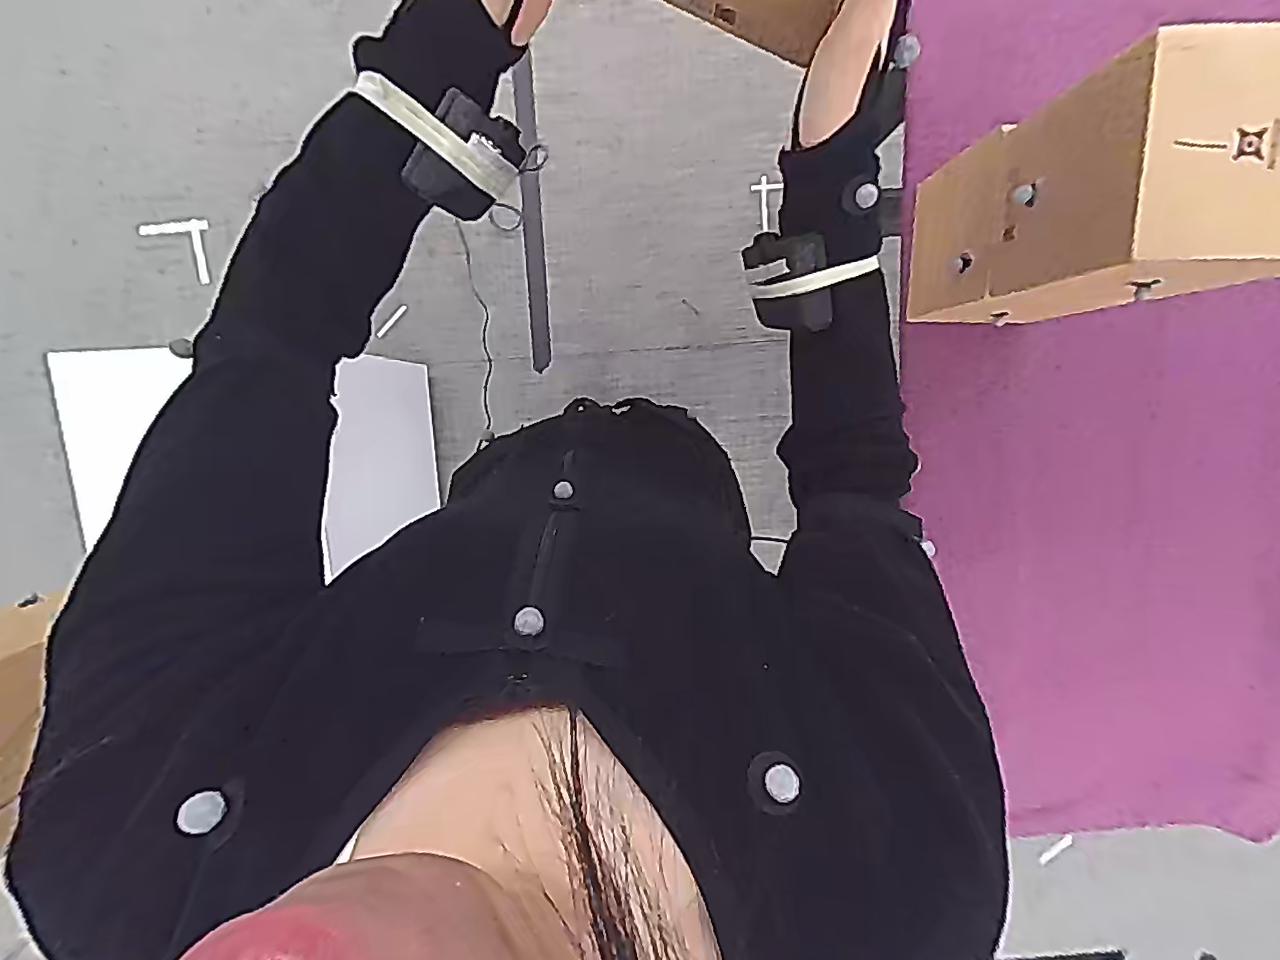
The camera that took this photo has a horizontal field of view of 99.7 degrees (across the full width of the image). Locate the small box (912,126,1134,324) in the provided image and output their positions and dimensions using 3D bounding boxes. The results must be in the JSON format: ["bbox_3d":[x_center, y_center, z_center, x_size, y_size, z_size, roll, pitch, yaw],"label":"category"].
[{"bbox_3d":[0.447,-0.285,0.642,0.168,0.176,0.179,1,98,-2],"label":"small box"}]

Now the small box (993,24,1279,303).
[{"bbox_3d":[0.460,-0.257,0.480,0.179,0.176,0.168,0,99,0],"label":"small box"}]
